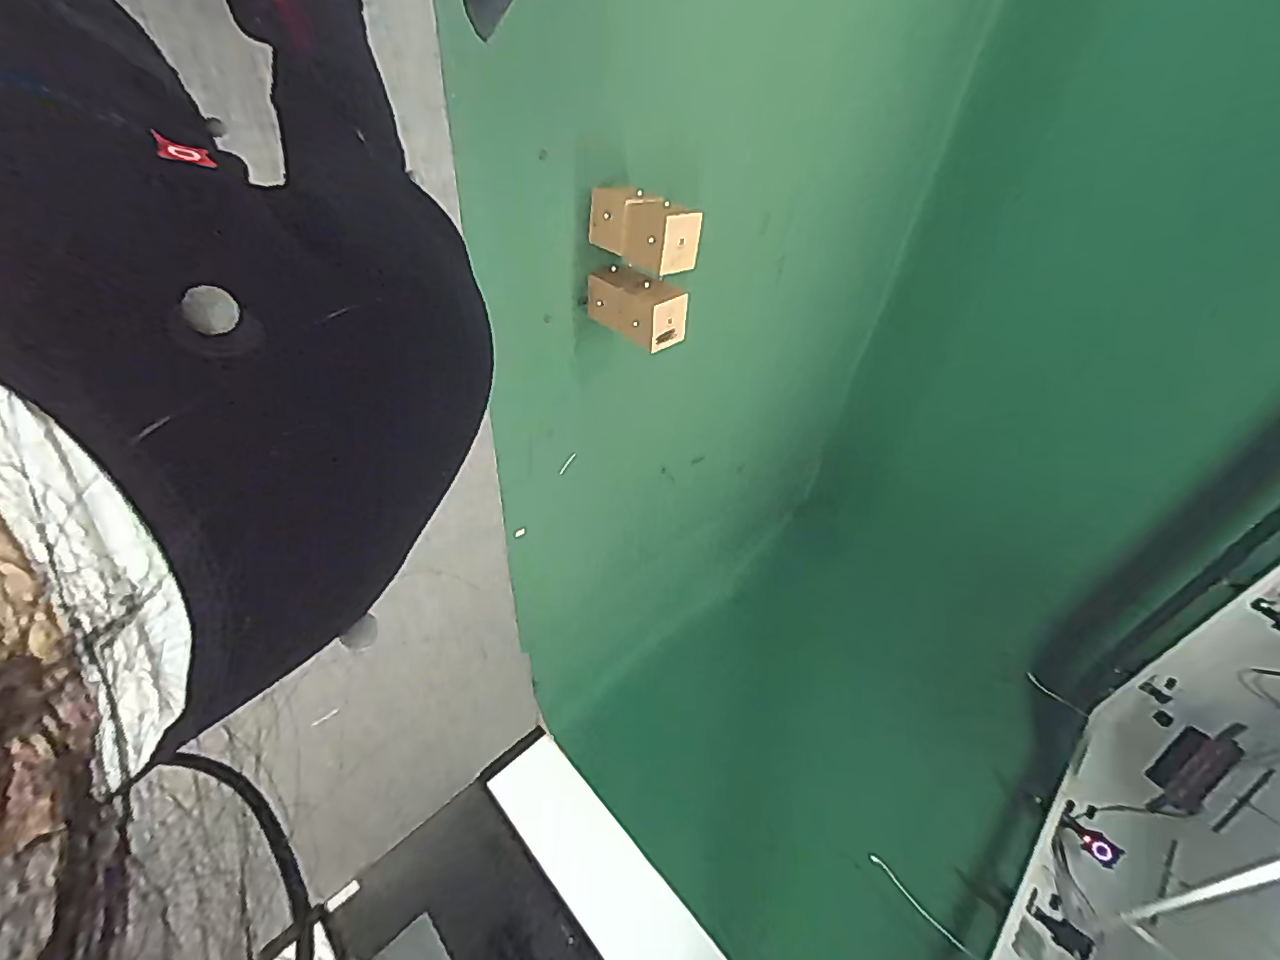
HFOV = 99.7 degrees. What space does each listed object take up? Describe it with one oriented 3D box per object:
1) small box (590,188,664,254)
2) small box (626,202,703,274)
[{"bbox_3d":[-0.048,-0.859,1.789,0.179,0.176,0.168,-26,139,-38],"label":"small box"},{"bbox_3d":[0.073,-0.773,1.714,0.168,0.176,0.179,-27,139,-37],"label":"small box"}]
